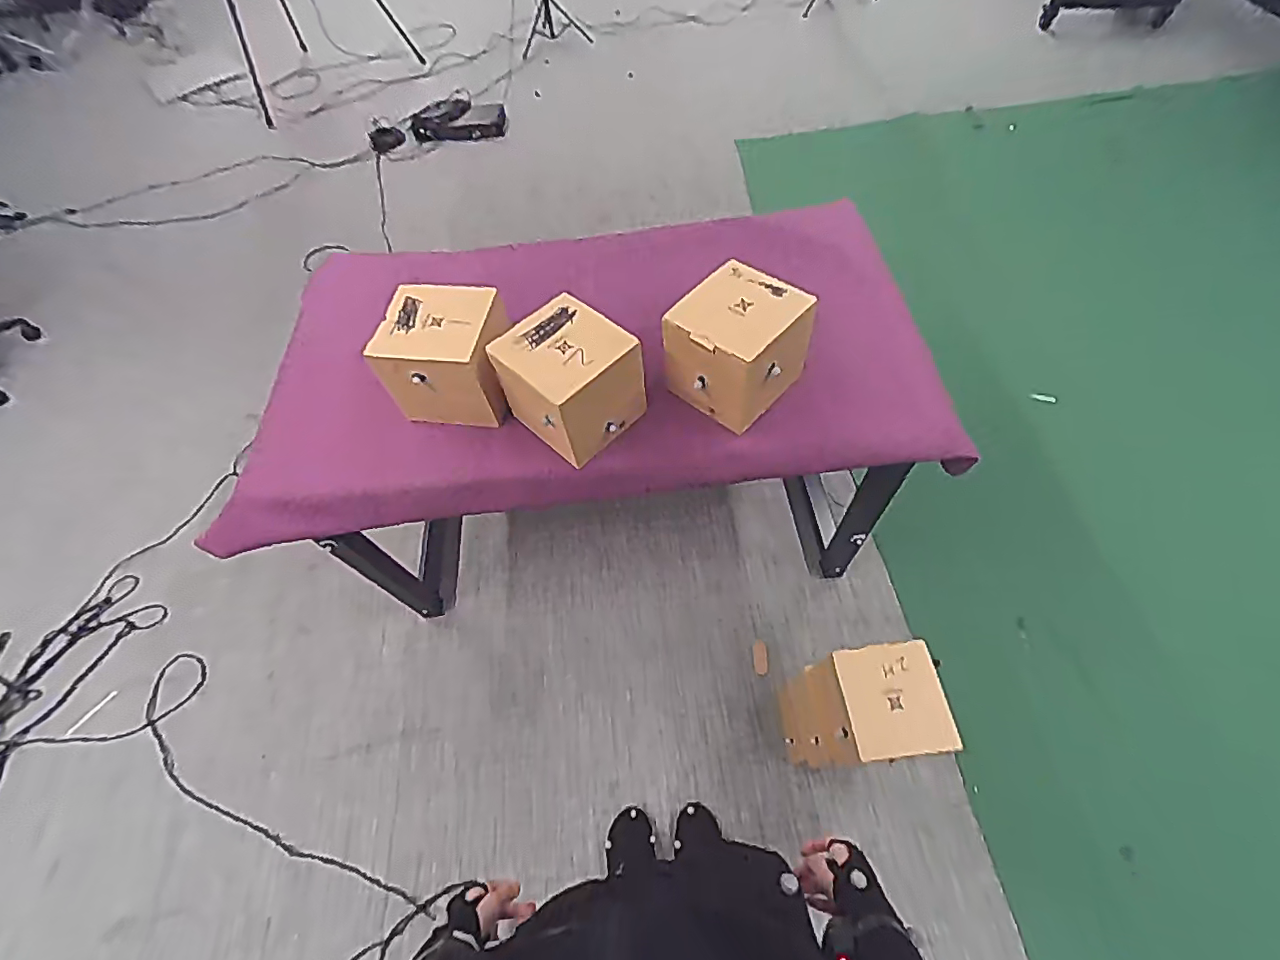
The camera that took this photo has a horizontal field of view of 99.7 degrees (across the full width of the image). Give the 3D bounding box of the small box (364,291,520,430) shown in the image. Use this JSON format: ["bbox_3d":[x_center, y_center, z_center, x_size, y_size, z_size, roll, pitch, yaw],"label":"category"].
[{"bbox_3d":[-0.326,-0.201,0.930,0.179,0.176,0.168,5,59,7],"label":"small box"}]

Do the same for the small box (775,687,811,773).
[{"bbox_3d":[0.418,0.576,1.250,0.179,0.176,0.168,-5,59,1],"label":"small box"}]

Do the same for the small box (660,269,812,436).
[{"bbox_3d":[0.154,-0.204,0.892,0.168,0.176,0.179,37,68,24],"label":"small box"}]

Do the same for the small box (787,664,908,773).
[{"bbox_3d":[0.413,0.493,1.111,0.168,0.176,0.179,-7,60,0],"label":"small box"}]
